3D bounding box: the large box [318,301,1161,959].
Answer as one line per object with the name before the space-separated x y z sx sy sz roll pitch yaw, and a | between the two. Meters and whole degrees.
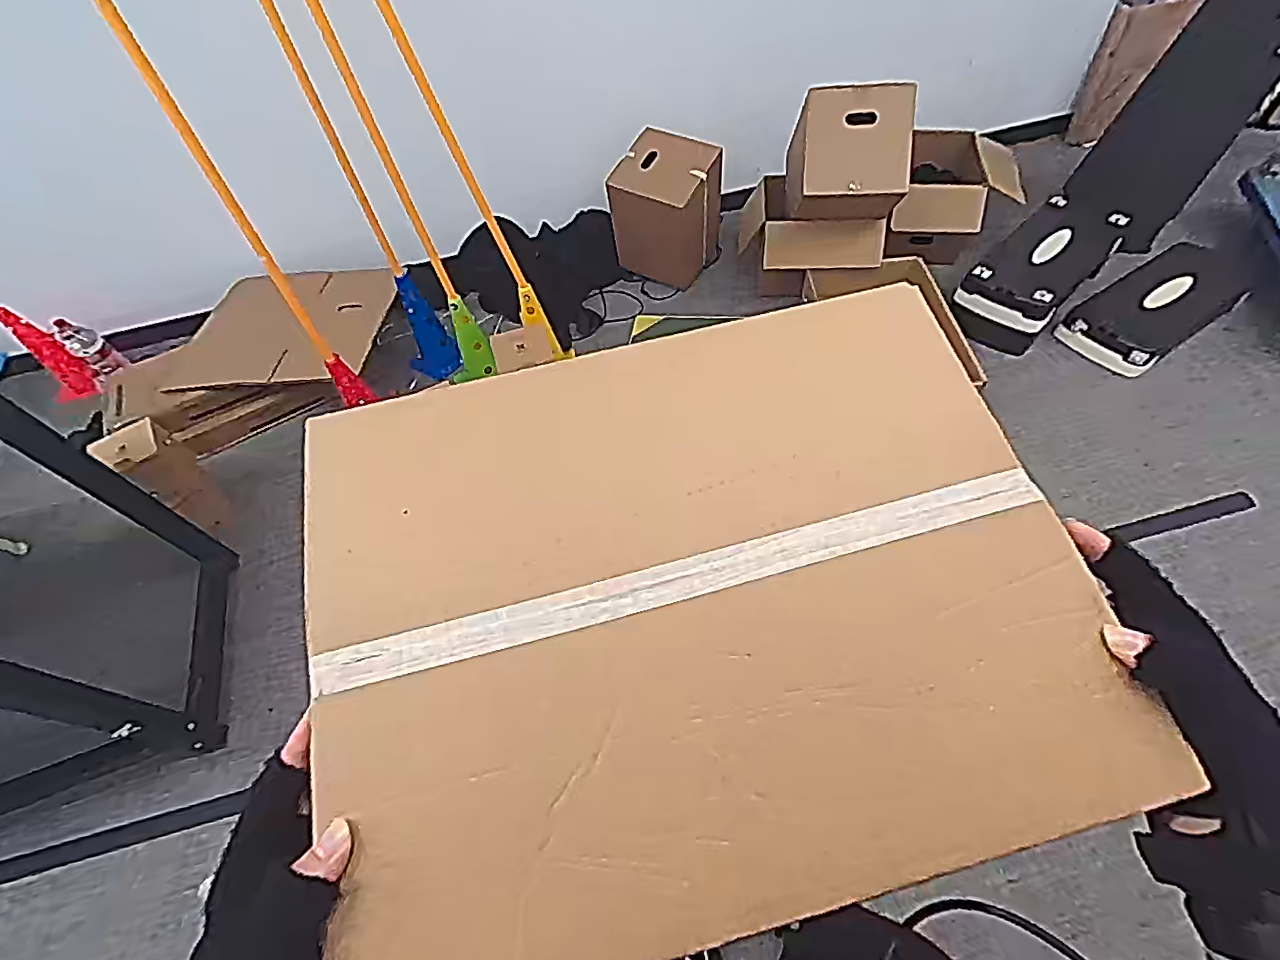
large box | 0.033 0.118 0.439 0.408 0.320 0.320 -15 67 -4
